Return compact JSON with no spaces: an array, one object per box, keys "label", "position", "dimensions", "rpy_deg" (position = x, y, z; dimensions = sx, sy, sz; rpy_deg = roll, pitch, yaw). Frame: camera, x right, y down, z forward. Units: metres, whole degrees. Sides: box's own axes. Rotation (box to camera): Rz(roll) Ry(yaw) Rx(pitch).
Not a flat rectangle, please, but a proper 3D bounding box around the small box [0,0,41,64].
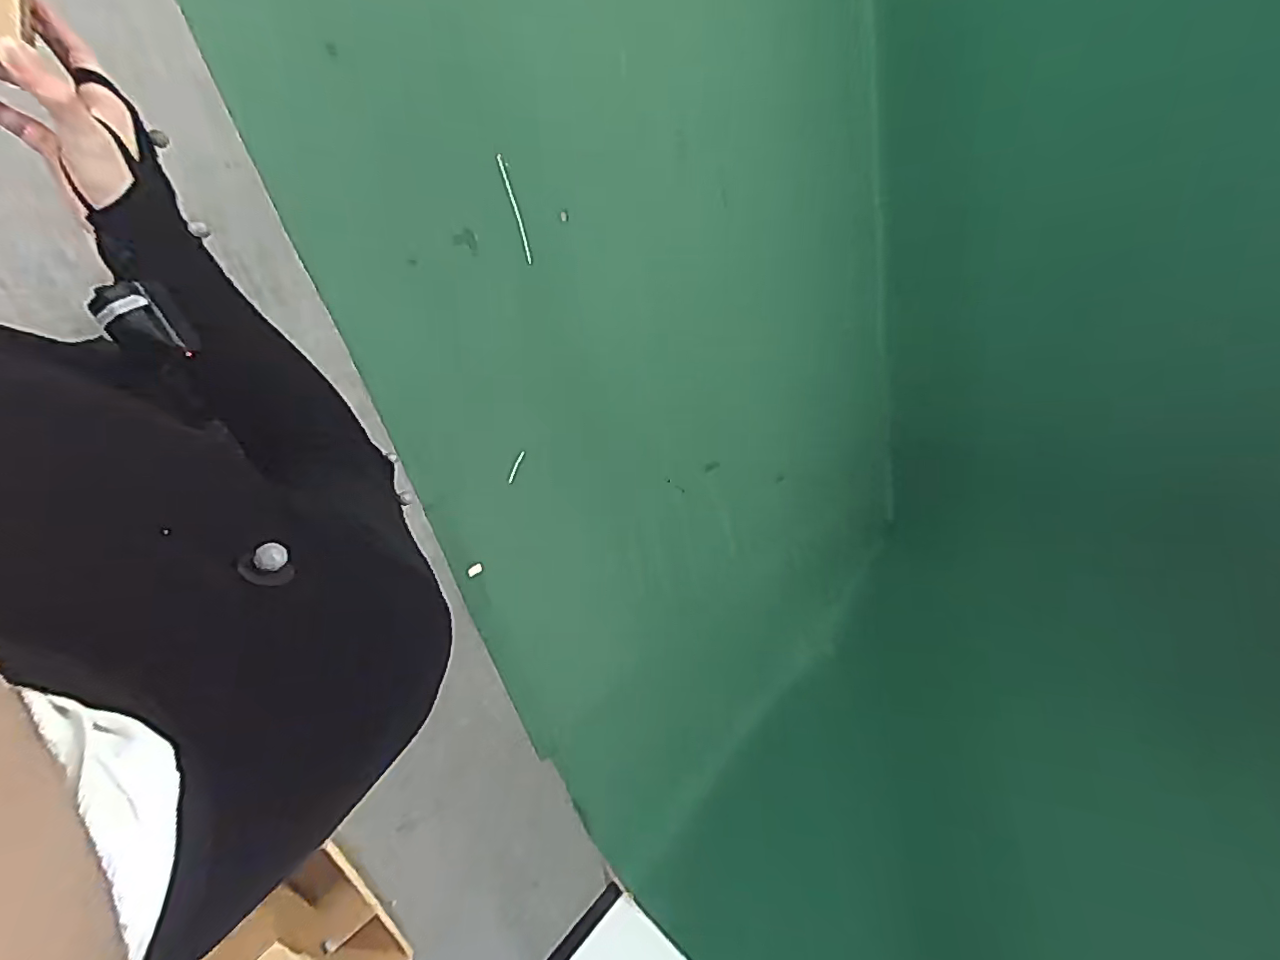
[{"label":"small box","position":[-0.471,-0.369,0.301],"dimensions":[0.179,0.176,0.168],"rpy_deg":[-1,113,-46]}]
